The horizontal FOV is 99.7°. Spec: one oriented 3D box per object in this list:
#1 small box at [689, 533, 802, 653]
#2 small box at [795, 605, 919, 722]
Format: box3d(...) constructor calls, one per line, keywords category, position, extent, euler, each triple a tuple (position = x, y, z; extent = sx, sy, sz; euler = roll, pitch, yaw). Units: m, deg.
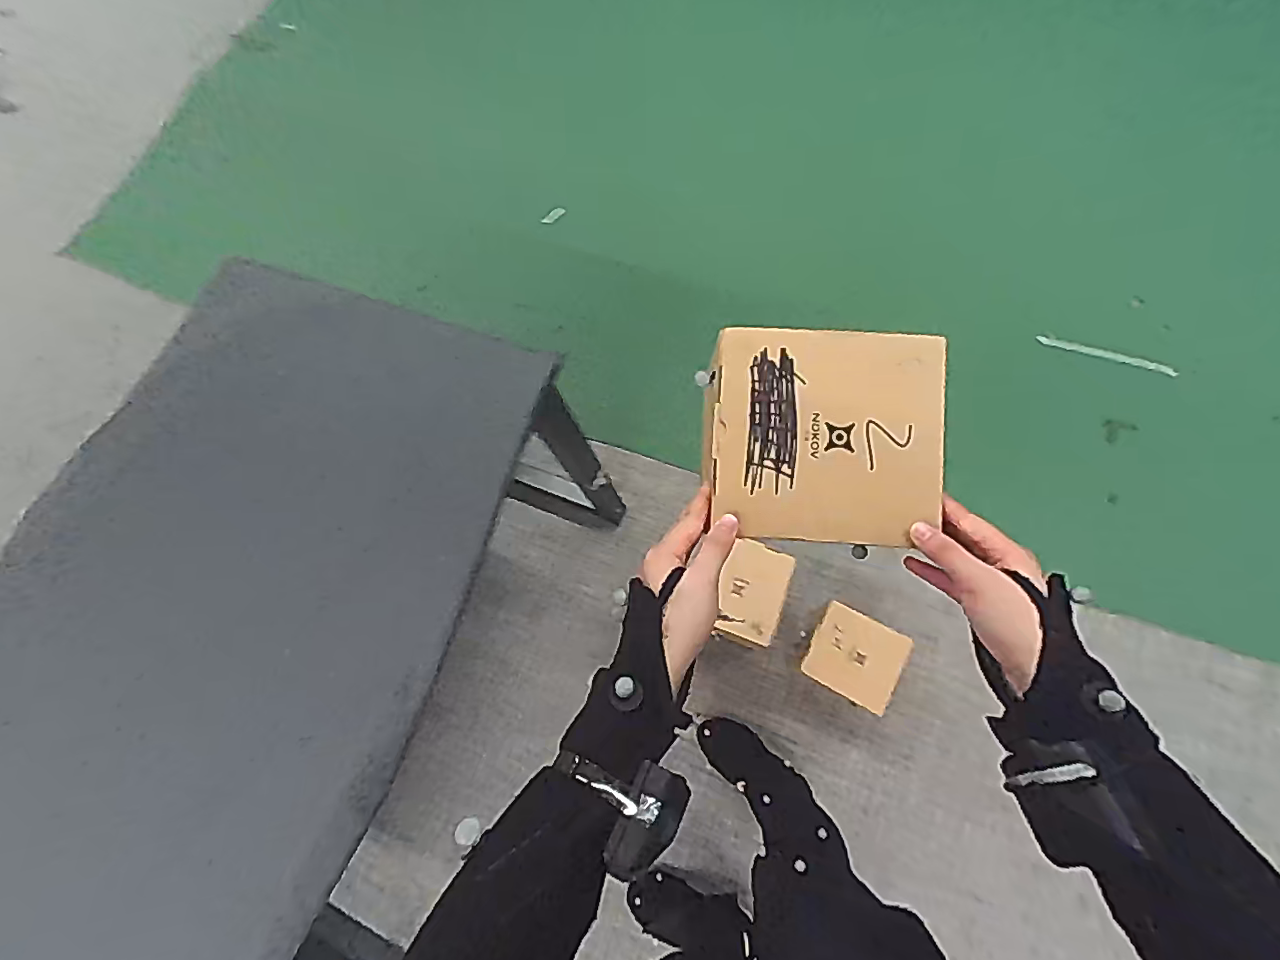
box3d(category="small box", position=(0.203, 0.230, 1.074), extent=(0.168, 0.176, 0.179), euler=(20, 75, 13))
box3d(category="small box", position=(0.455, 0.388, 1.160), extent=(0.179, 0.176, 0.168), euler=(28, 78, 16))
